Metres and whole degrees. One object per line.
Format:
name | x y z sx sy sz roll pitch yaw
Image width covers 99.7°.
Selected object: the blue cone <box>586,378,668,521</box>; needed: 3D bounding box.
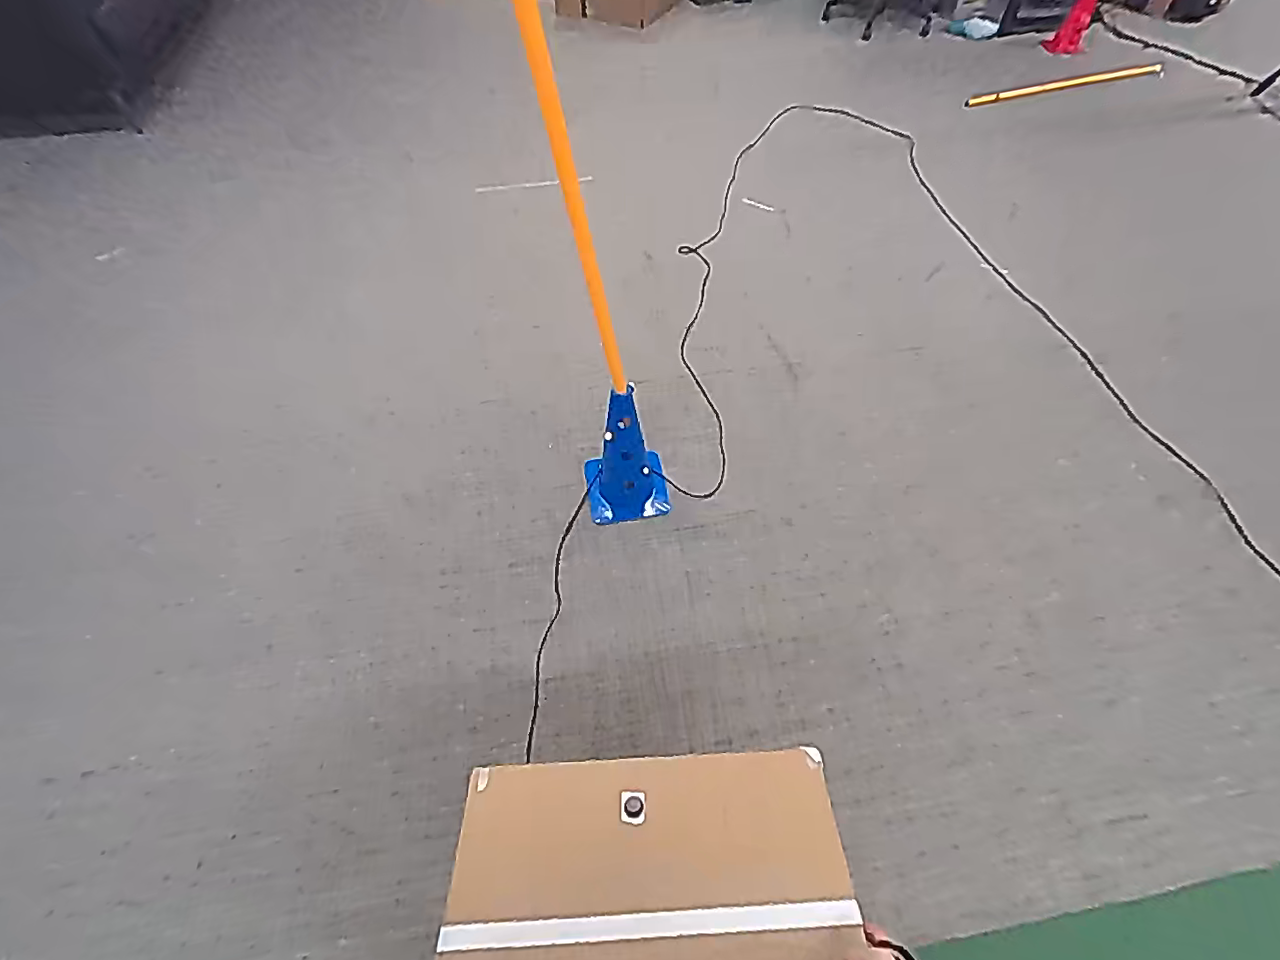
blue cone | -0.038 -0.079 1.231 0.193 0.380 0.192 -11 56 -6
